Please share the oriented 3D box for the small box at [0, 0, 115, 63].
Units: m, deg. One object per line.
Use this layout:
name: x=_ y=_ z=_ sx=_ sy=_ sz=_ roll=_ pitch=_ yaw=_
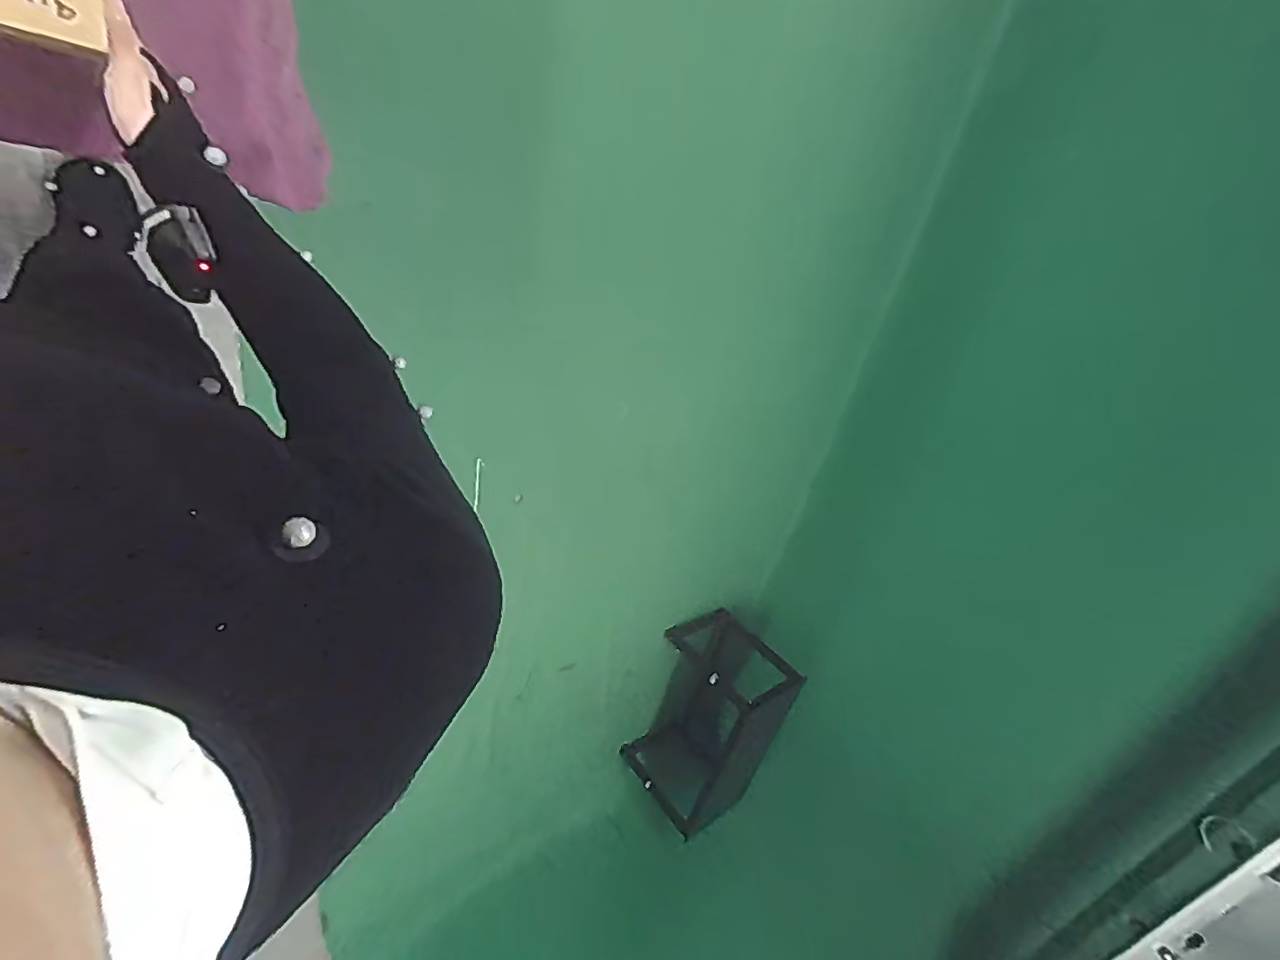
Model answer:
small box: x=-0.505 y=-0.427 z=0.381 sx=0.168 sy=0.176 sz=0.179 roll=-12 pitch=125 yaw=-41
